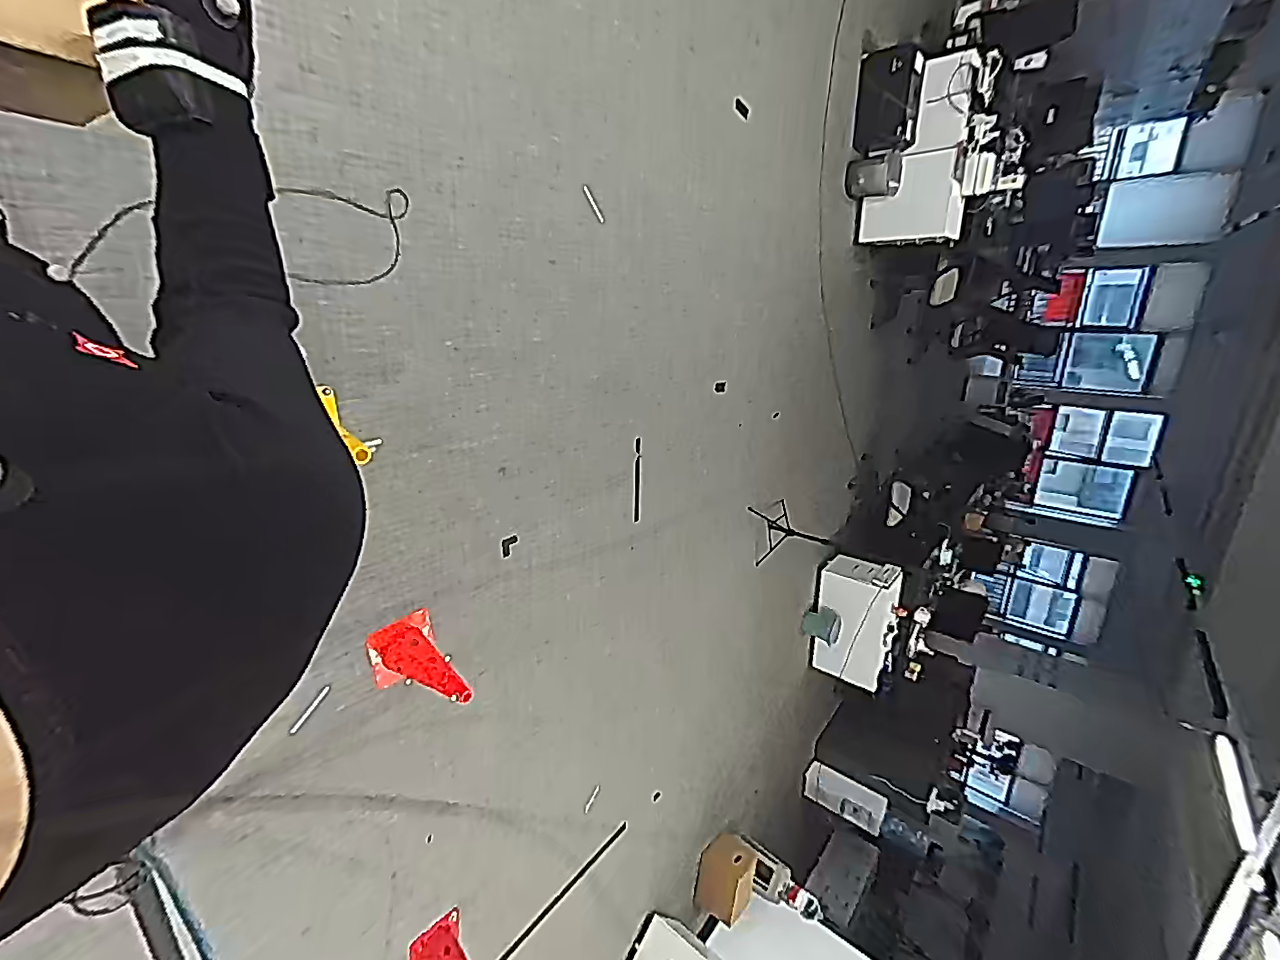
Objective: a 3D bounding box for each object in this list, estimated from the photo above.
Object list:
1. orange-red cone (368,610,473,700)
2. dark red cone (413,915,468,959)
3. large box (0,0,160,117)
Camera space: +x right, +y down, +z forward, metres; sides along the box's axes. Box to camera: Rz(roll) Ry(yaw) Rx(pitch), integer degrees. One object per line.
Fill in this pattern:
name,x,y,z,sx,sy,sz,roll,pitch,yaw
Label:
orange-red cone,-0.615,0.559,1.598,0.198,0.360,0.199,-25,119,-46
dark red cone,-0.638,1.813,1.941,0.201,0.394,0.202,-12,111,-48
large box,-0.568,-0.432,0.273,0.408,0.320,0.320,-17,120,-50
